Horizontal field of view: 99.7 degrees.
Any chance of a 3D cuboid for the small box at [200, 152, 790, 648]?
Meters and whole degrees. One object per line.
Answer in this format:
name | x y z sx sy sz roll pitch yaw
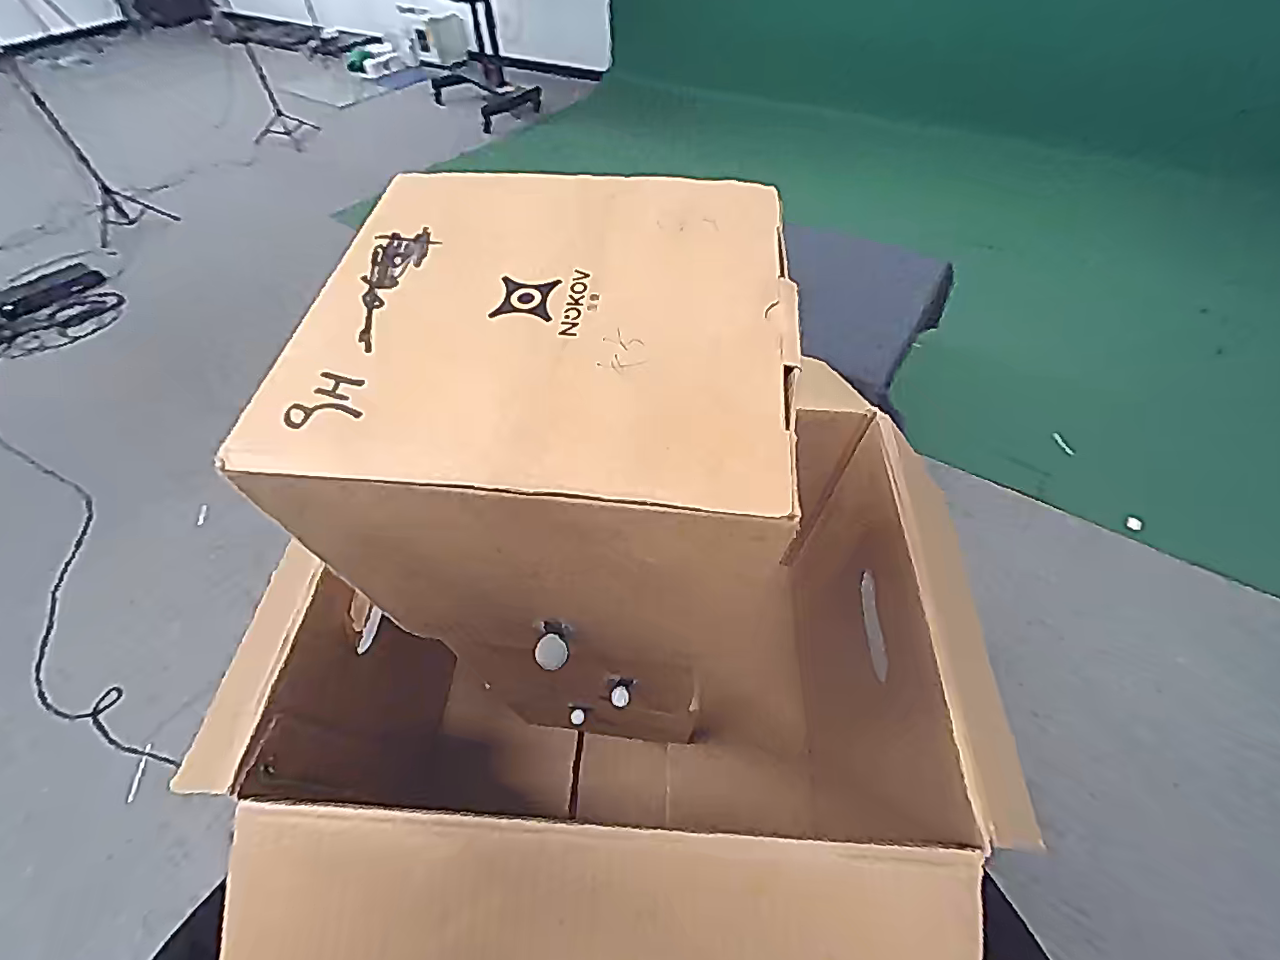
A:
small box | -0.037 -0.026 0.264 0.179 0.176 0.168 5 57 3
